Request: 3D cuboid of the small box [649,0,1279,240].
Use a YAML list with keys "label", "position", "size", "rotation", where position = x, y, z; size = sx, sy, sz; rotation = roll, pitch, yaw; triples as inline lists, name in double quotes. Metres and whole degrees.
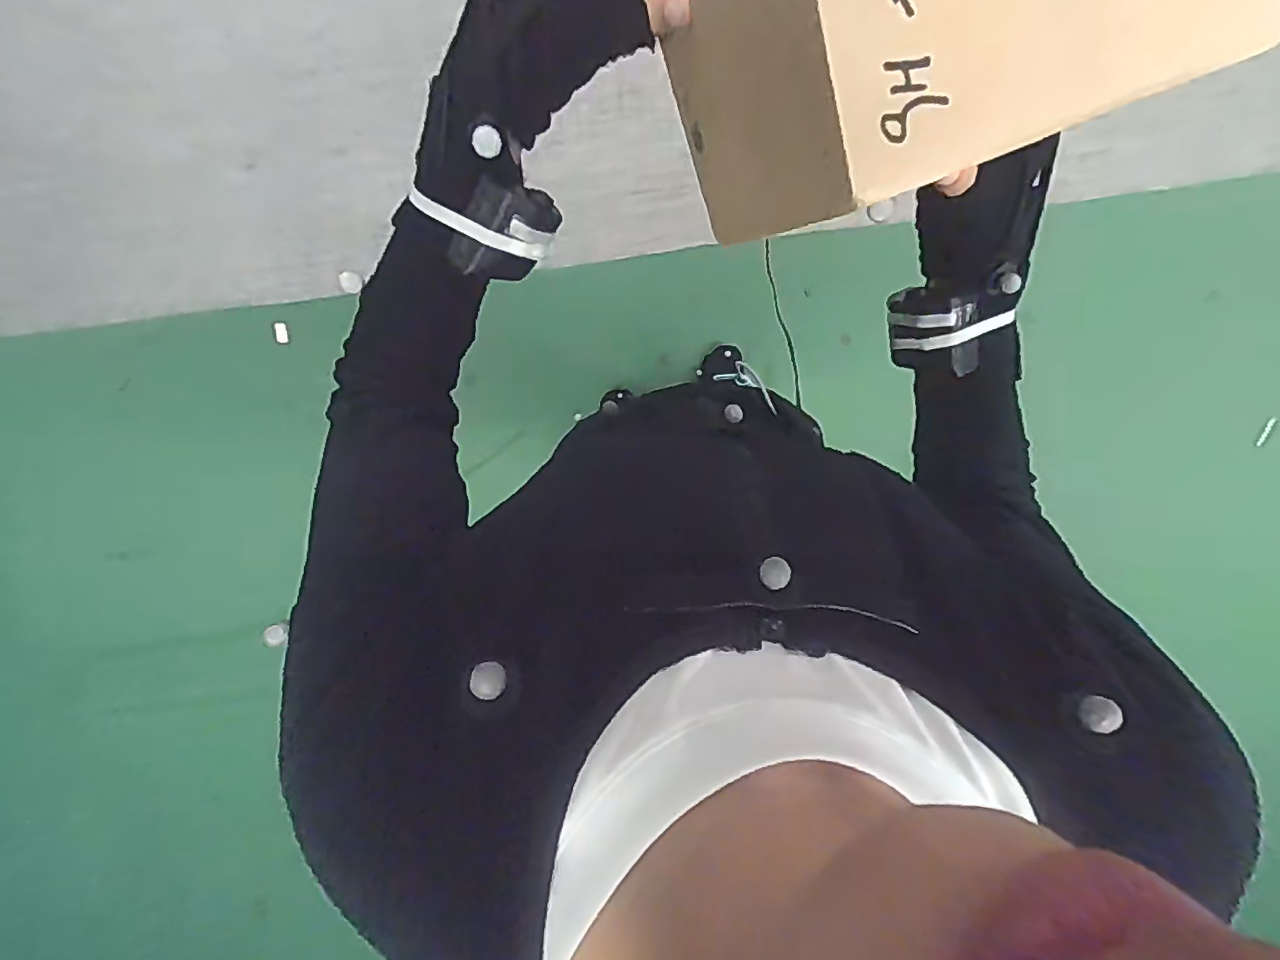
- label: "small box"
  position: [0.116, -0.223, 0.240]
  size: [0.179, 0.176, 0.168]
  rotation: [-22, 111, -3]
